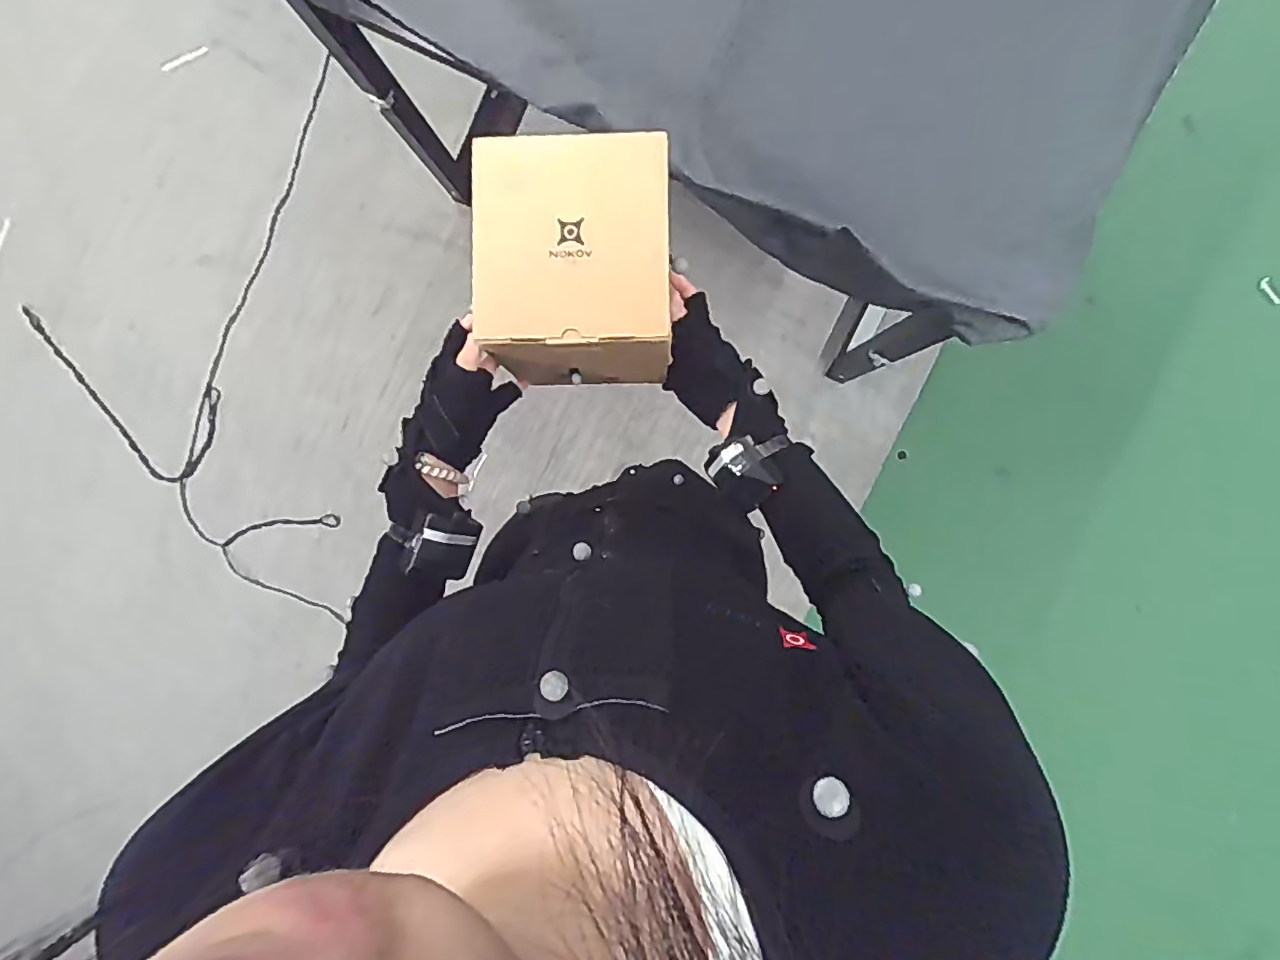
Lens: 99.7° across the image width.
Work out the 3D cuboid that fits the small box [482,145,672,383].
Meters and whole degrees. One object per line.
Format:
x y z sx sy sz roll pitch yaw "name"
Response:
-0.054 -0.202 0.546 0.168 0.176 0.179 -1 89 1 "small box"
